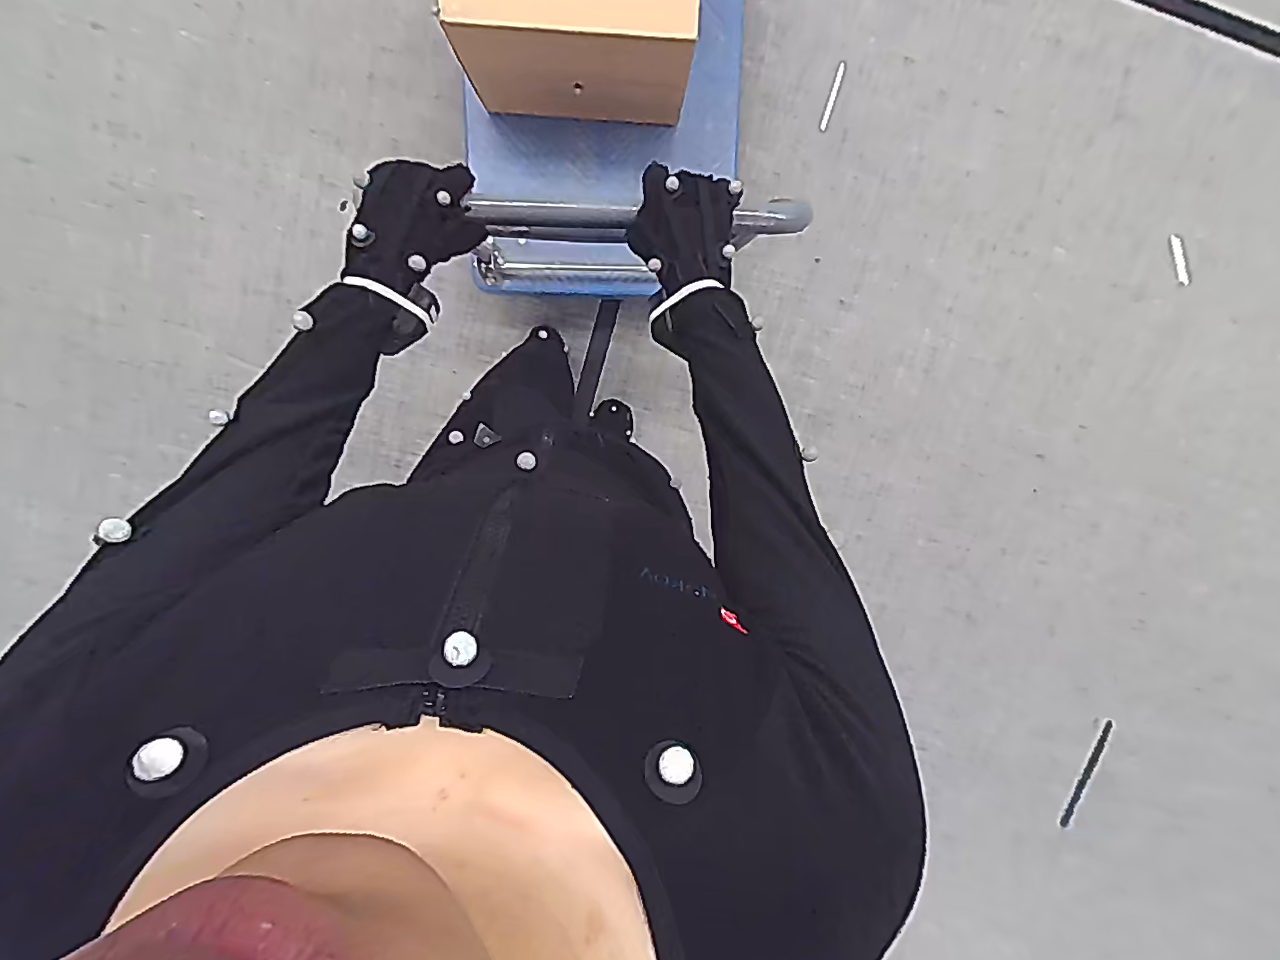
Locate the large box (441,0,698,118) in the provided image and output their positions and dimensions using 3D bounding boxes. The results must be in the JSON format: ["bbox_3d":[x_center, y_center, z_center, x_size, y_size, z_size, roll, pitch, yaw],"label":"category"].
[{"bbox_3d":[-0.106,-0.882,0.958,0.408,0.320,0.320,3,102,-2],"label":"large box"}]
